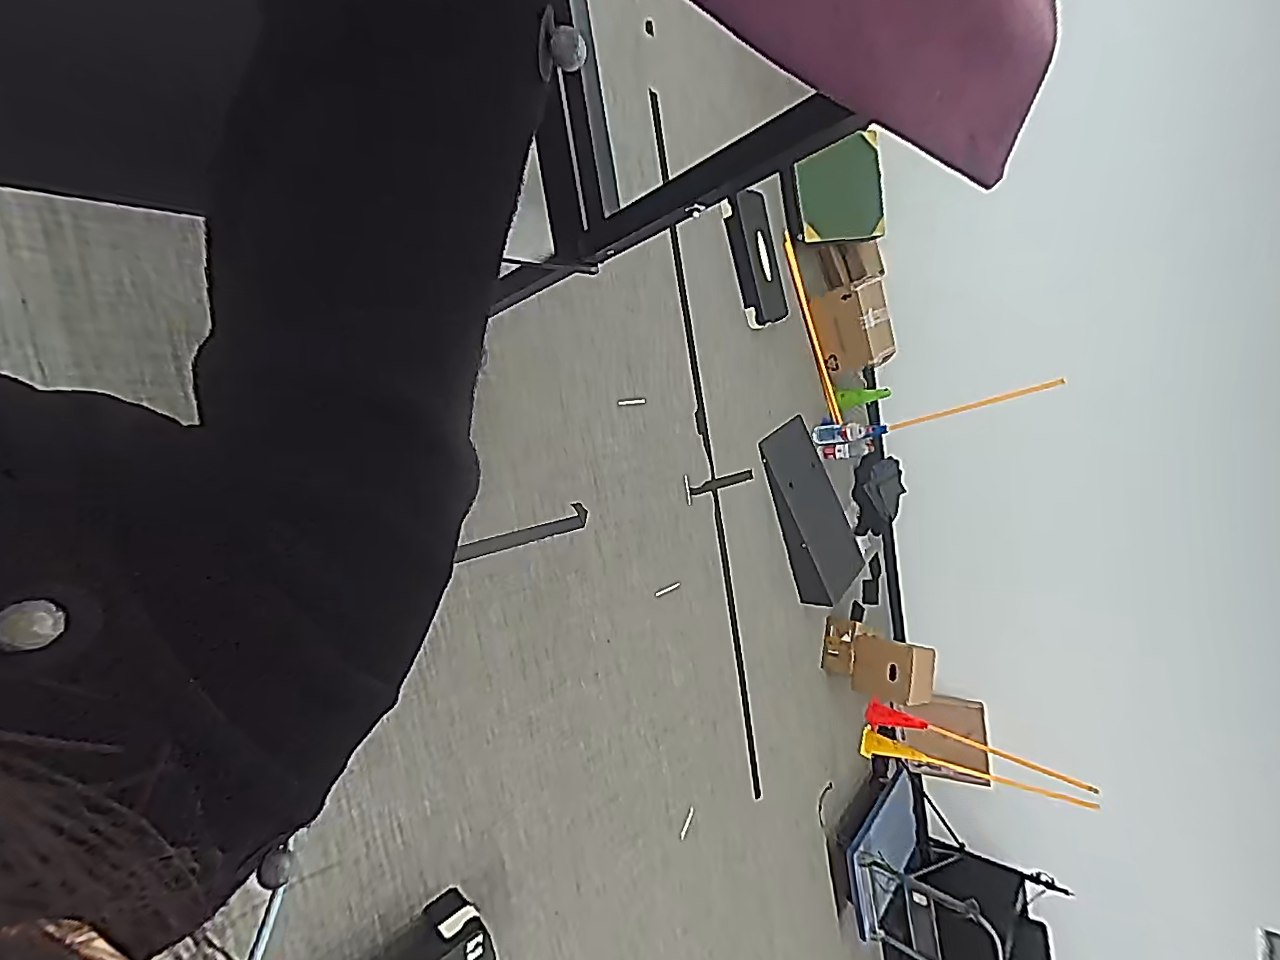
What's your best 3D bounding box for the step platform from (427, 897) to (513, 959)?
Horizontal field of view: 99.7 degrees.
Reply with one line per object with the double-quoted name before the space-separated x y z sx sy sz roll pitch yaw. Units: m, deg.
"step platform" -0.636 1.365 1.301 0.684 0.204 0.286 -5 91 -46
